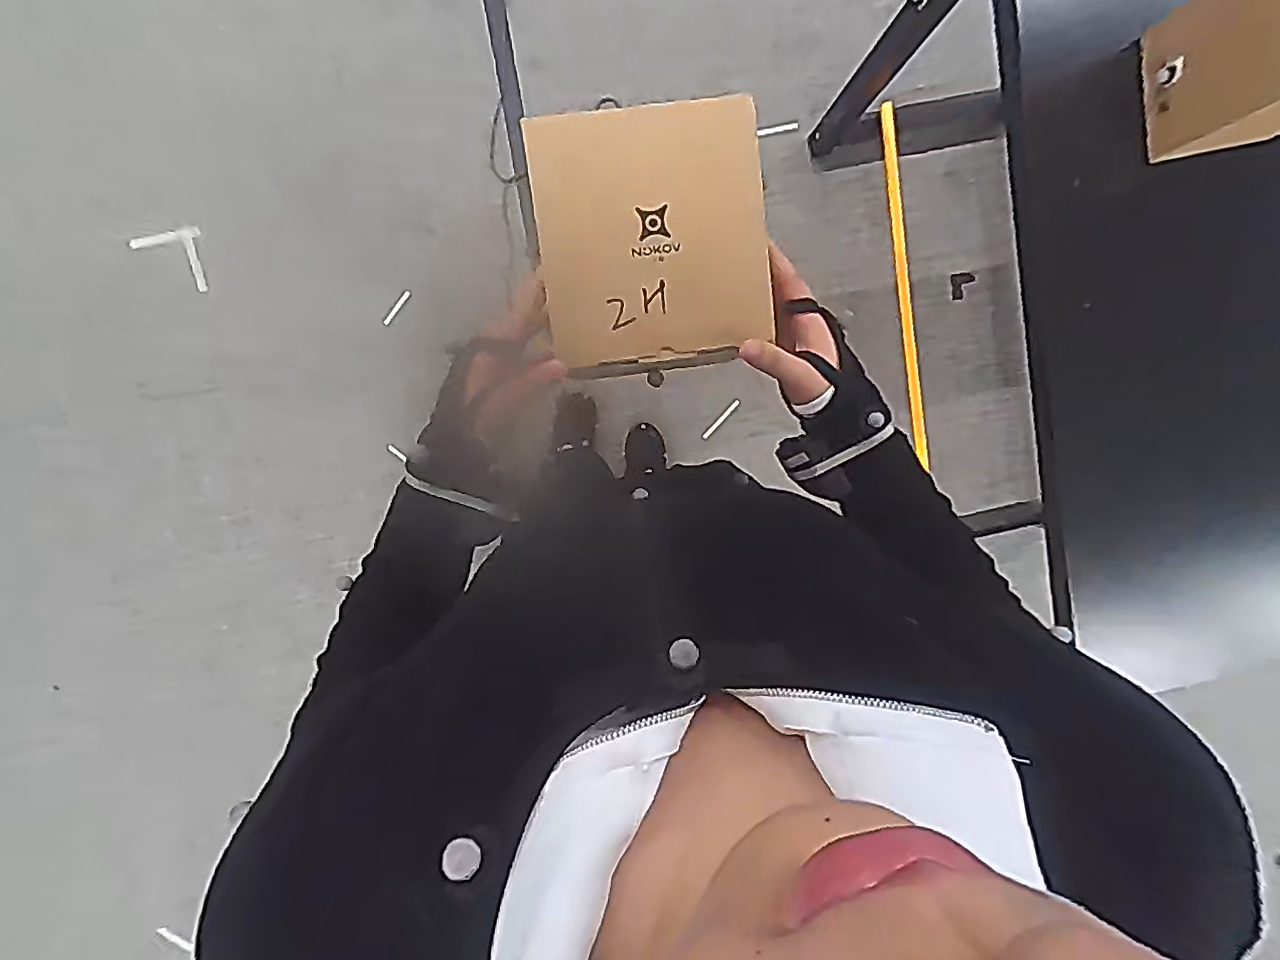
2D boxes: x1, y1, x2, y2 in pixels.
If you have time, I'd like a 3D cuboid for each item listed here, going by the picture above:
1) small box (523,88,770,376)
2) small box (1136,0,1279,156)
[{"bbox_3d":[0.003,-0.192,0.467,0.168,0.176,0.179,-7,97,-2],"label":"small box"},{"bbox_3d":[0.769,-0.531,0.658,0.179,0.176,0.168,-13,96,-1],"label":"small box"}]
